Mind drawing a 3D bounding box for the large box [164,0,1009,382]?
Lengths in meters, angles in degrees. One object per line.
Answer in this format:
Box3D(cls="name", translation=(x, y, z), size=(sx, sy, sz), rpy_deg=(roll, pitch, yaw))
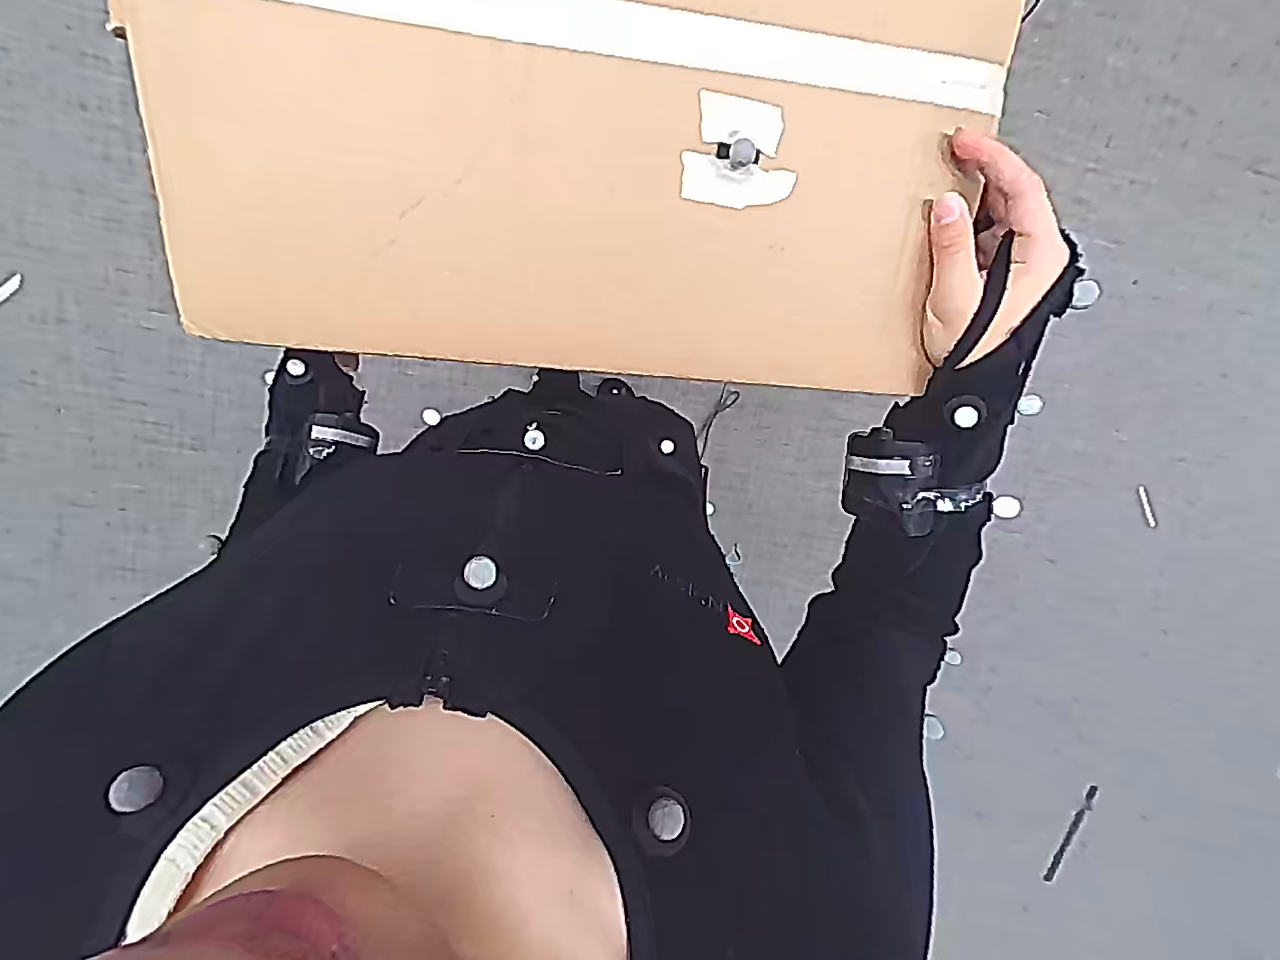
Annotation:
Box3D(cls="large box", translation=(-0.033, -0.257, 0.403), size=(0.408, 0.320, 0.320), rpy_deg=(2, 109, -9))
